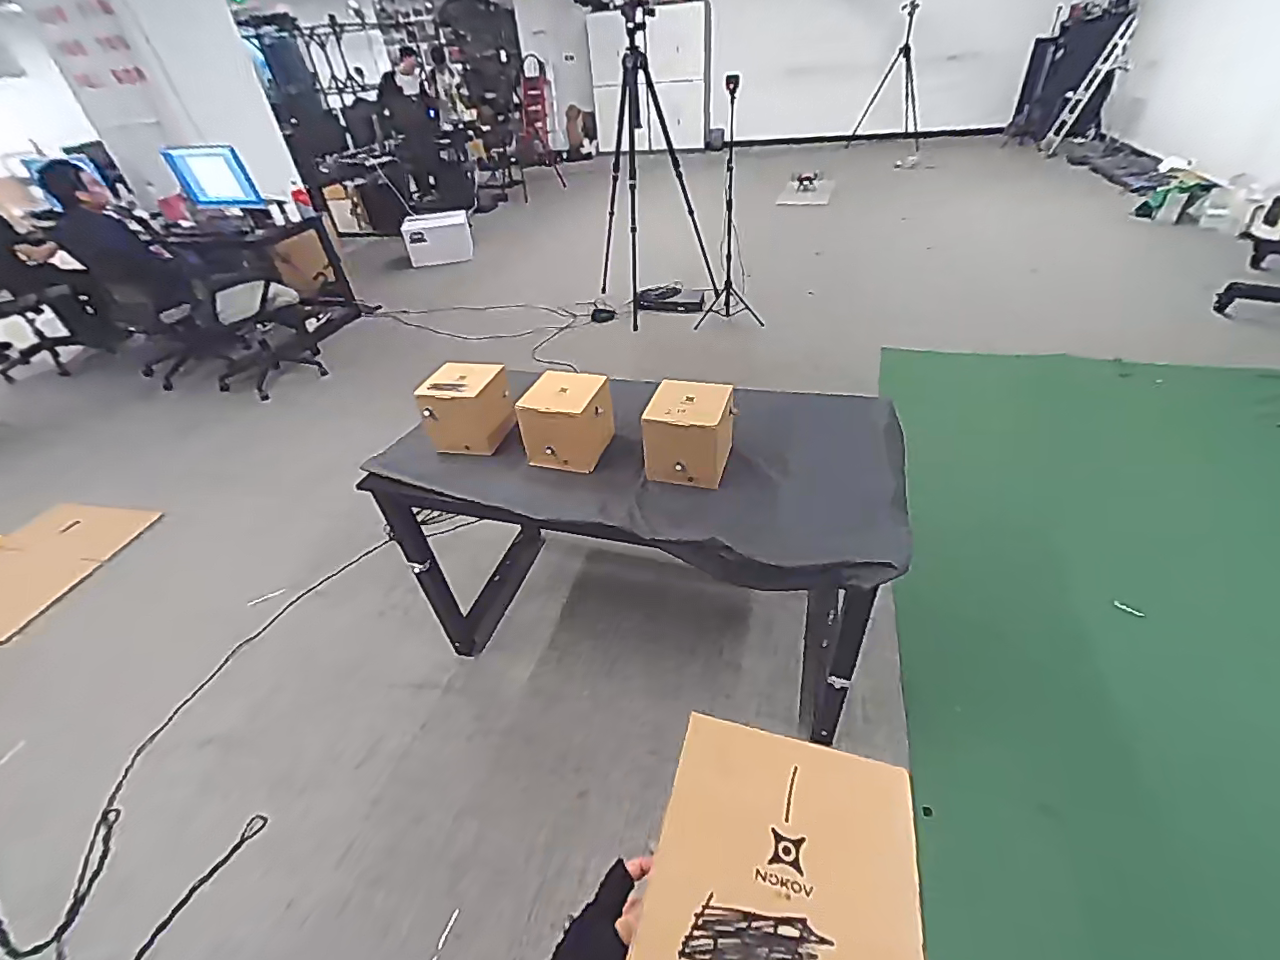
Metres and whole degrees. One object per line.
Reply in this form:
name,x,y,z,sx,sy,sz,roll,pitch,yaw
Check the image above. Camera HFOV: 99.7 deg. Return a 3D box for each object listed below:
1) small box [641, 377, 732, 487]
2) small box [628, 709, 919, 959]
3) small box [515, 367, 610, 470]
small box,0.108,-0.110,1.223,0.168,0.176,0.179,9,41,17
small box,0.098,0.314,0.406,0.168,0.176,0.179,10,39,15
small box,-0.177,-0.150,1.303,0.168,0.176,0.179,9,42,16
